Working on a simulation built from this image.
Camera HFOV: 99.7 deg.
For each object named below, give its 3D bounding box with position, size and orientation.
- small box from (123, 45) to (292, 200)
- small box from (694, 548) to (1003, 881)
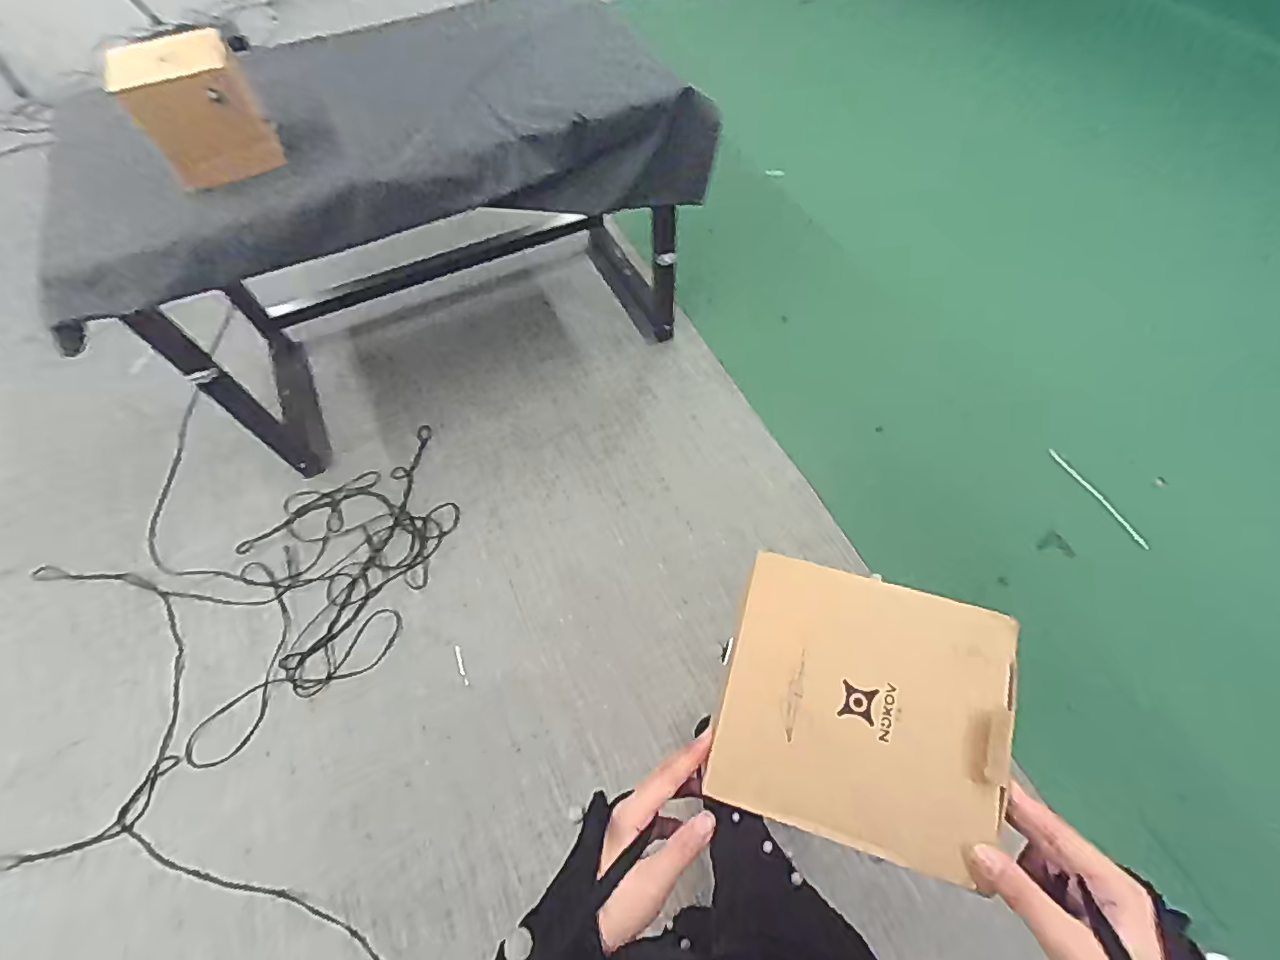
[{"bbox_3d":[-0.777,-0.644,0.983,0.179,0.176,0.168,-24,61,-12],"label":"small box"},{"bbox_3d":[0.147,0.168,0.426,0.179,0.176,0.168,12,71,12],"label":"small box"}]
